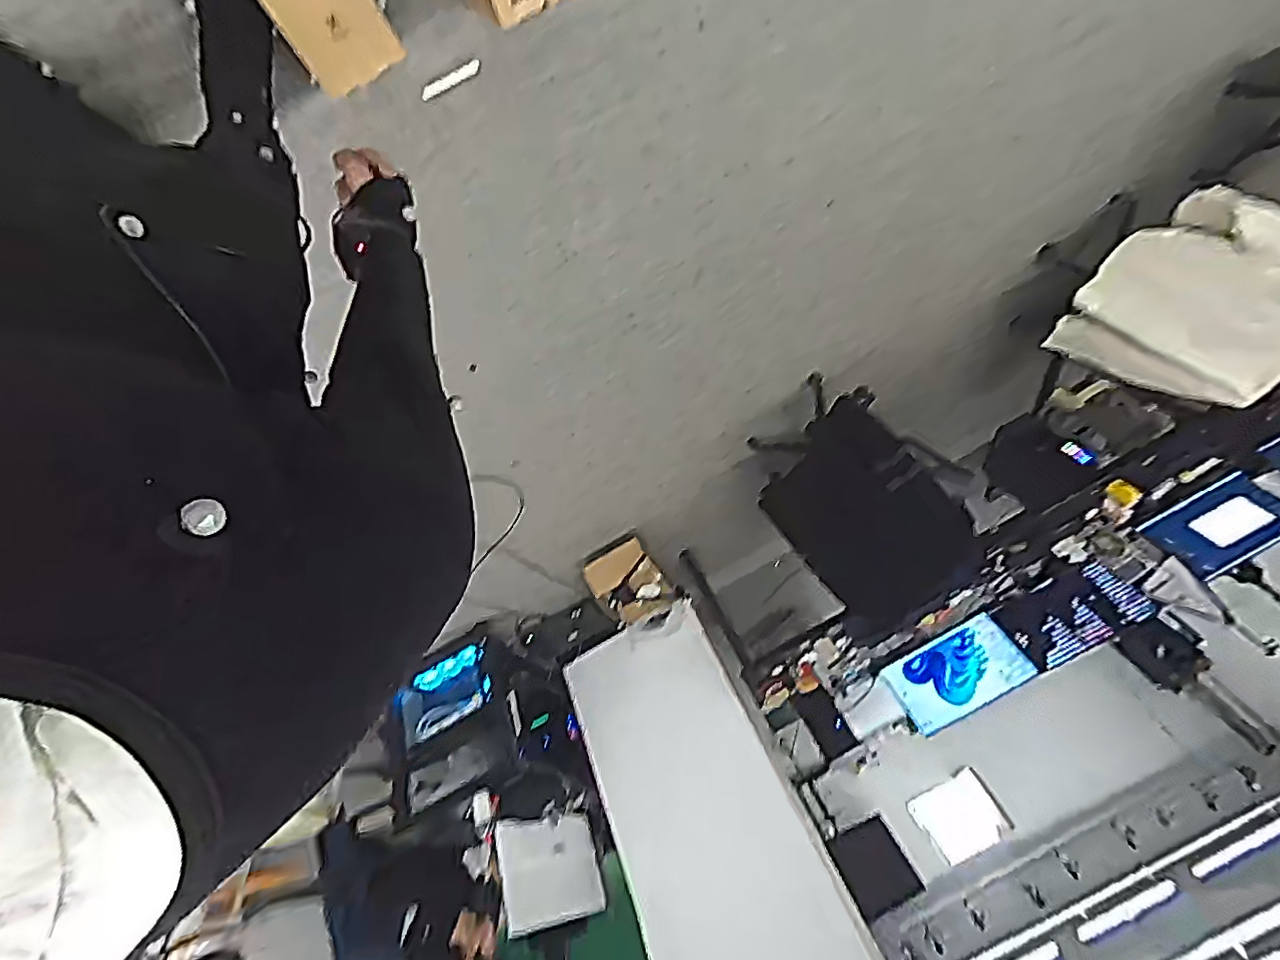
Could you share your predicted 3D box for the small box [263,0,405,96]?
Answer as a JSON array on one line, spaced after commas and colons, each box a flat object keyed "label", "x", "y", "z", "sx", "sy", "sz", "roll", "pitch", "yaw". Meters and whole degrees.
[{"label": "small box", "x": -0.567, "y": -0.856, "z": 0.994, "sx": 0.168, "sy": 0.176, "sz": 0.179, "roll": -31, "pitch": 141, "yaw": 2}]

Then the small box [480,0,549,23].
[{"label": "small box", "x": -0.214, "y": -0.904, "z": 0.891, "sx": 0.168, "sy": 0.176, "sz": 0.179, "roll": -29, "pitch": 140, "yaw": -1}]
